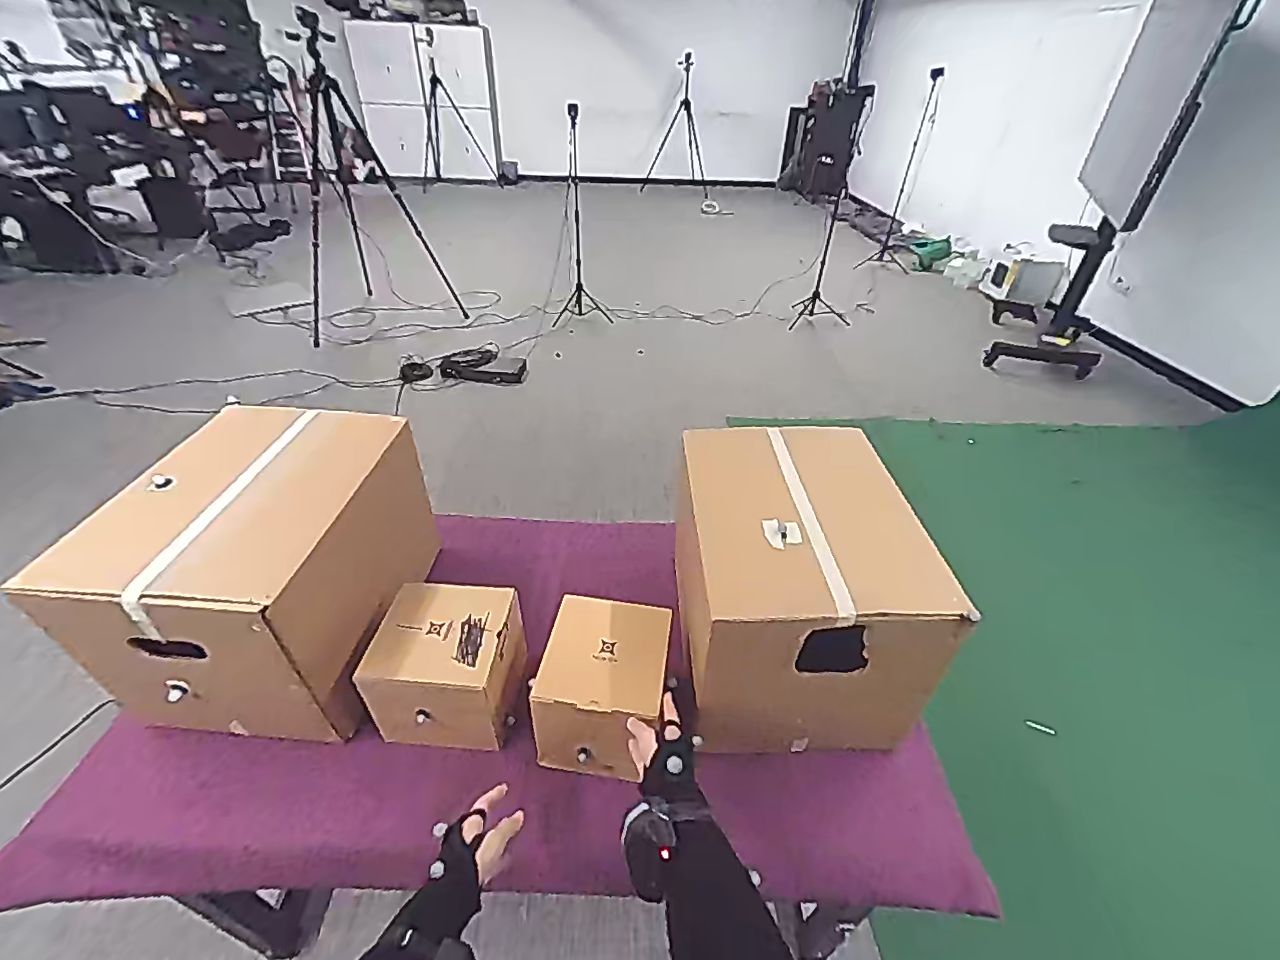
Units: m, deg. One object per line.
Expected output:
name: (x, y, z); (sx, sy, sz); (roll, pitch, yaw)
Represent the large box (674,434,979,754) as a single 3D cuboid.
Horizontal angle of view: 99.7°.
large box: (0.230, 0.164, 0.861); (0.320, 0.320, 0.408); (-1, 38, -1)
